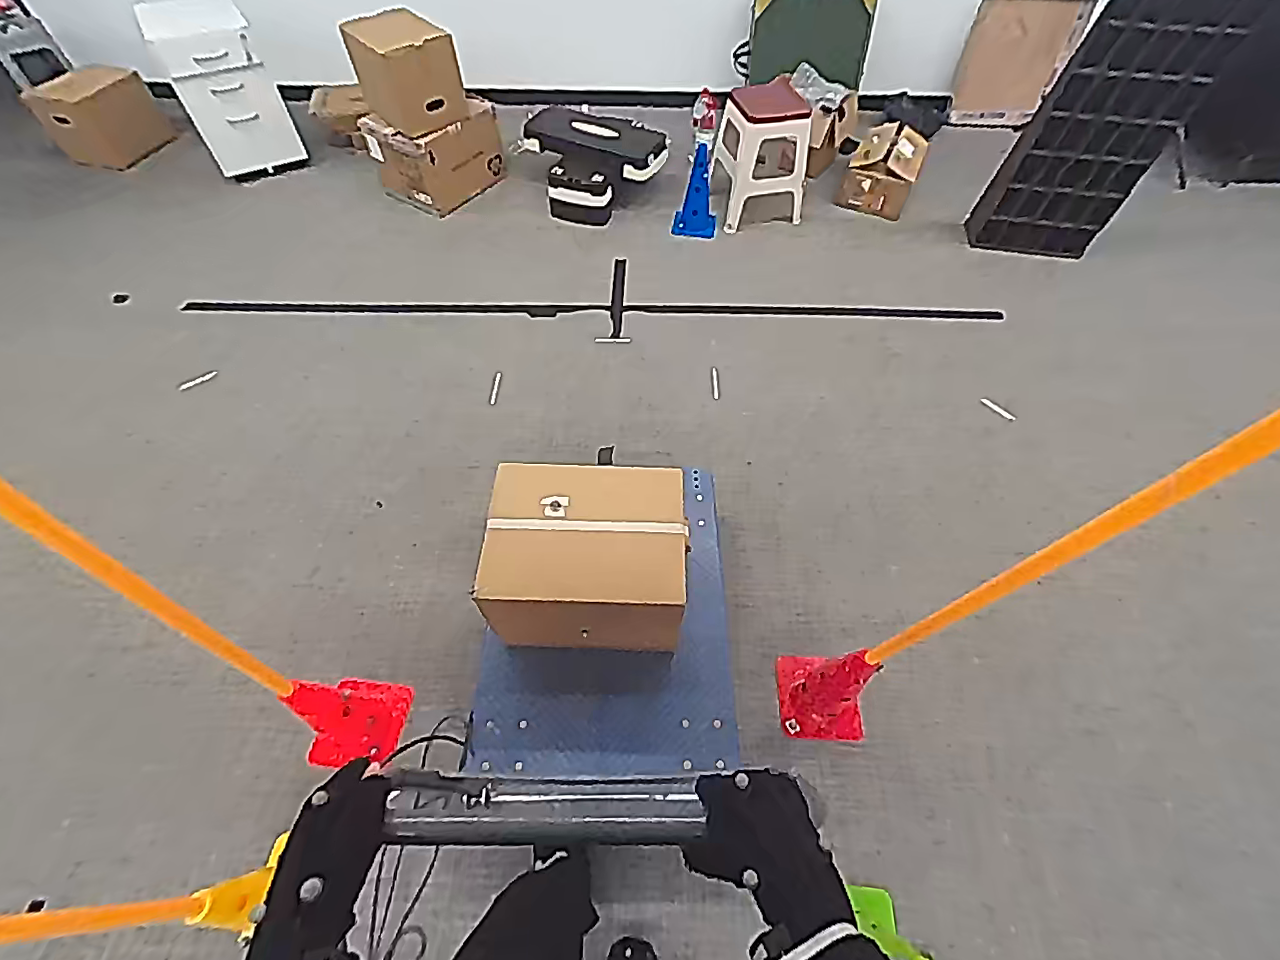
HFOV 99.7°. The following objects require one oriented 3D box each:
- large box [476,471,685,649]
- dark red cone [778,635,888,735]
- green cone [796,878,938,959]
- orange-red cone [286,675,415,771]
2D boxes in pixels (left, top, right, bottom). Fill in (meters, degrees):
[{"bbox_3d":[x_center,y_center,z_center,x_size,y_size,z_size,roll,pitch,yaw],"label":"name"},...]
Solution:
[{"bbox_3d":[-0.110,0.191,1.229,0.408,0.320,0.320,1,56,1],"label":"large box"},{"bbox_3d":[0.460,0.437,1.220,0.201,0.394,0.202,2,56,-1],"label":"dark red cone"},{"bbox_3d":[0.429,0.845,0.960,0.202,0.368,0.200,5,56,1],"label":"green cone"},{"bbox_3d":[-0.673,0.494,1.189,0.198,0.360,0.199,8,54,4],"label":"orange-red cone"}]
